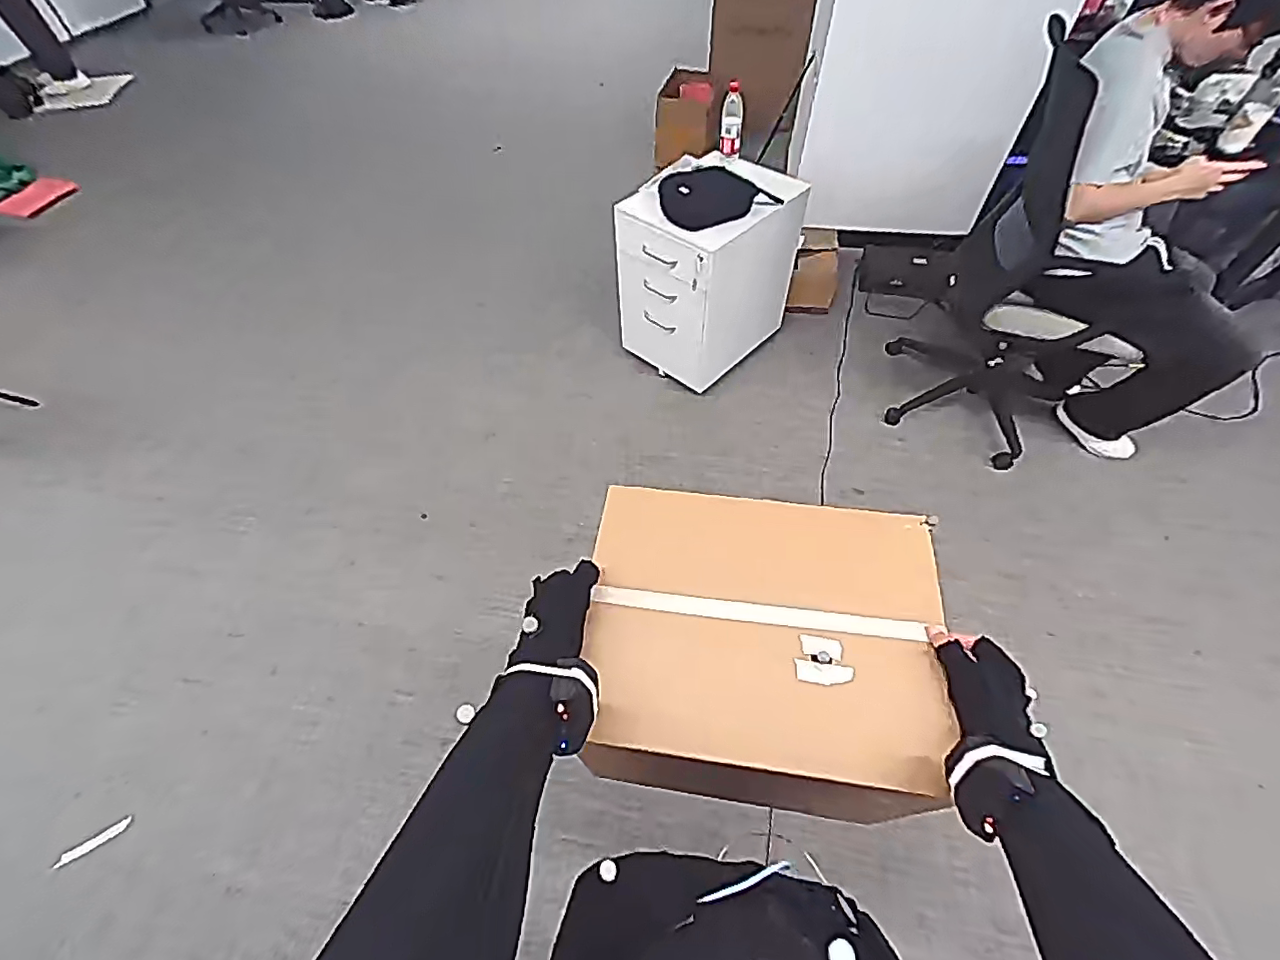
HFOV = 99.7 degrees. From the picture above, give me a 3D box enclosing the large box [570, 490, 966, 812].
[{"bbox_3d":[0.146,0.240,0.747,0.408,0.320,0.320,6,56,7],"label":"large box"}]
